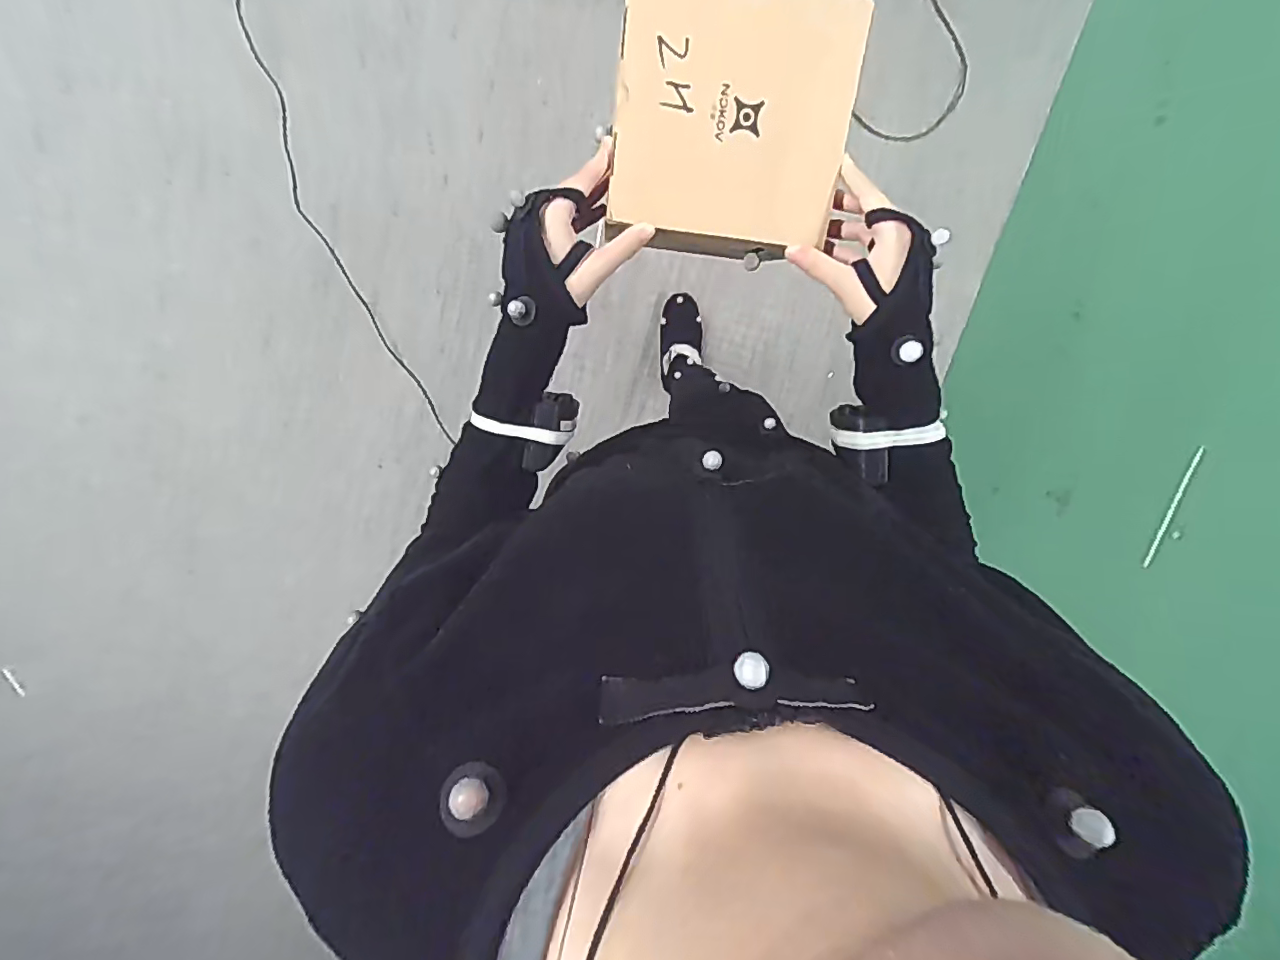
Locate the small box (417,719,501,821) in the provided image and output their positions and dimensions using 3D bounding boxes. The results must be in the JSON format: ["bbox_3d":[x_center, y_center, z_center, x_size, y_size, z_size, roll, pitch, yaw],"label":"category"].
[{"bbox_3d":[-0.514,0.830,1.559,0.168,0.176,0.179,16,99,-5],"label":"small box"}]
